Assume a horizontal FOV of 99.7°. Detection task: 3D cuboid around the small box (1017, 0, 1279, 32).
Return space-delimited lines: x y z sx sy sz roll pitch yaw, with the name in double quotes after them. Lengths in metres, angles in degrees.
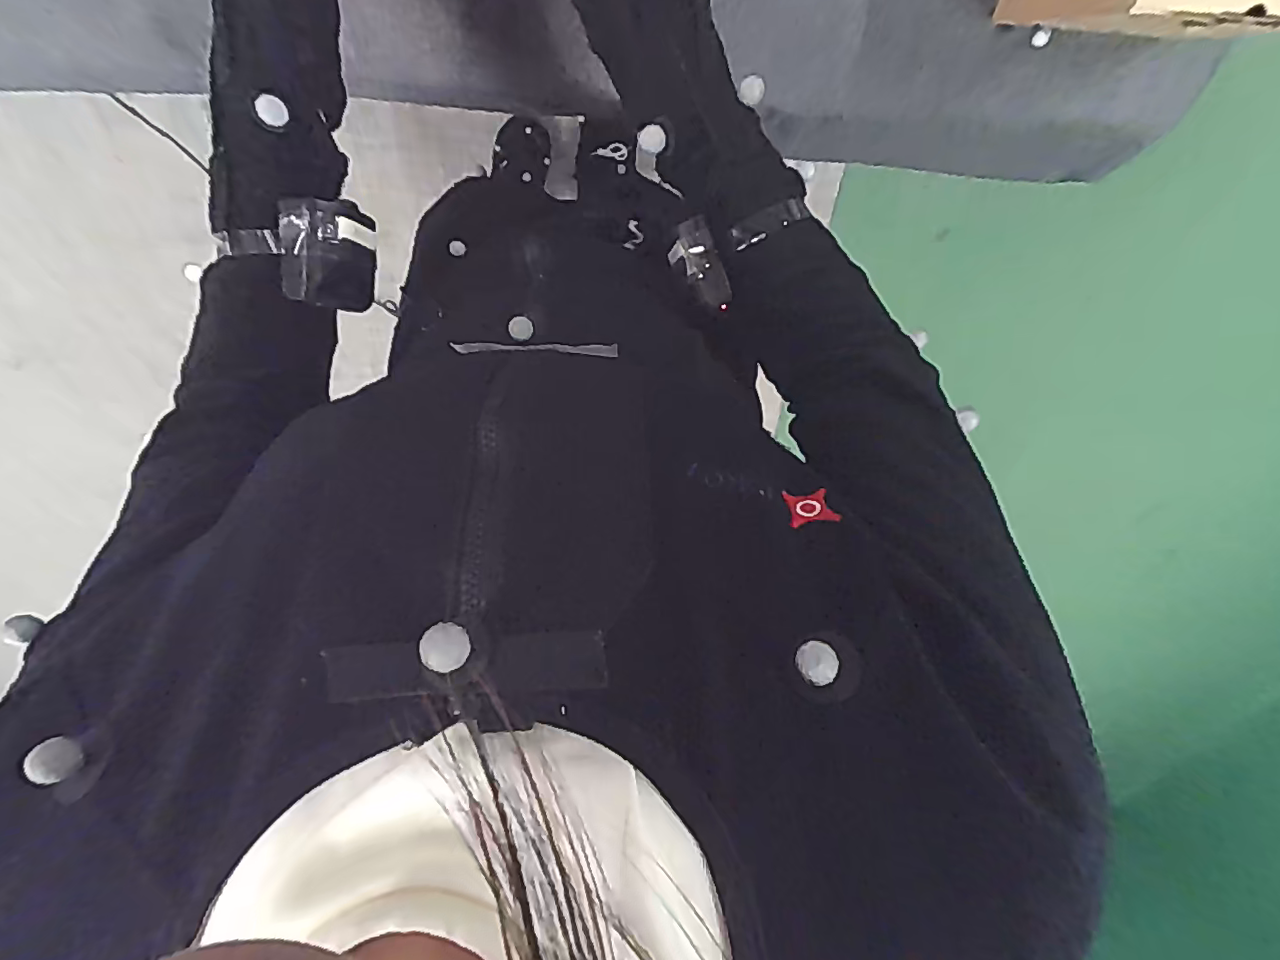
0.390 -0.413 0.355 0.168 0.176 0.179 2 127 -3 "small box"
